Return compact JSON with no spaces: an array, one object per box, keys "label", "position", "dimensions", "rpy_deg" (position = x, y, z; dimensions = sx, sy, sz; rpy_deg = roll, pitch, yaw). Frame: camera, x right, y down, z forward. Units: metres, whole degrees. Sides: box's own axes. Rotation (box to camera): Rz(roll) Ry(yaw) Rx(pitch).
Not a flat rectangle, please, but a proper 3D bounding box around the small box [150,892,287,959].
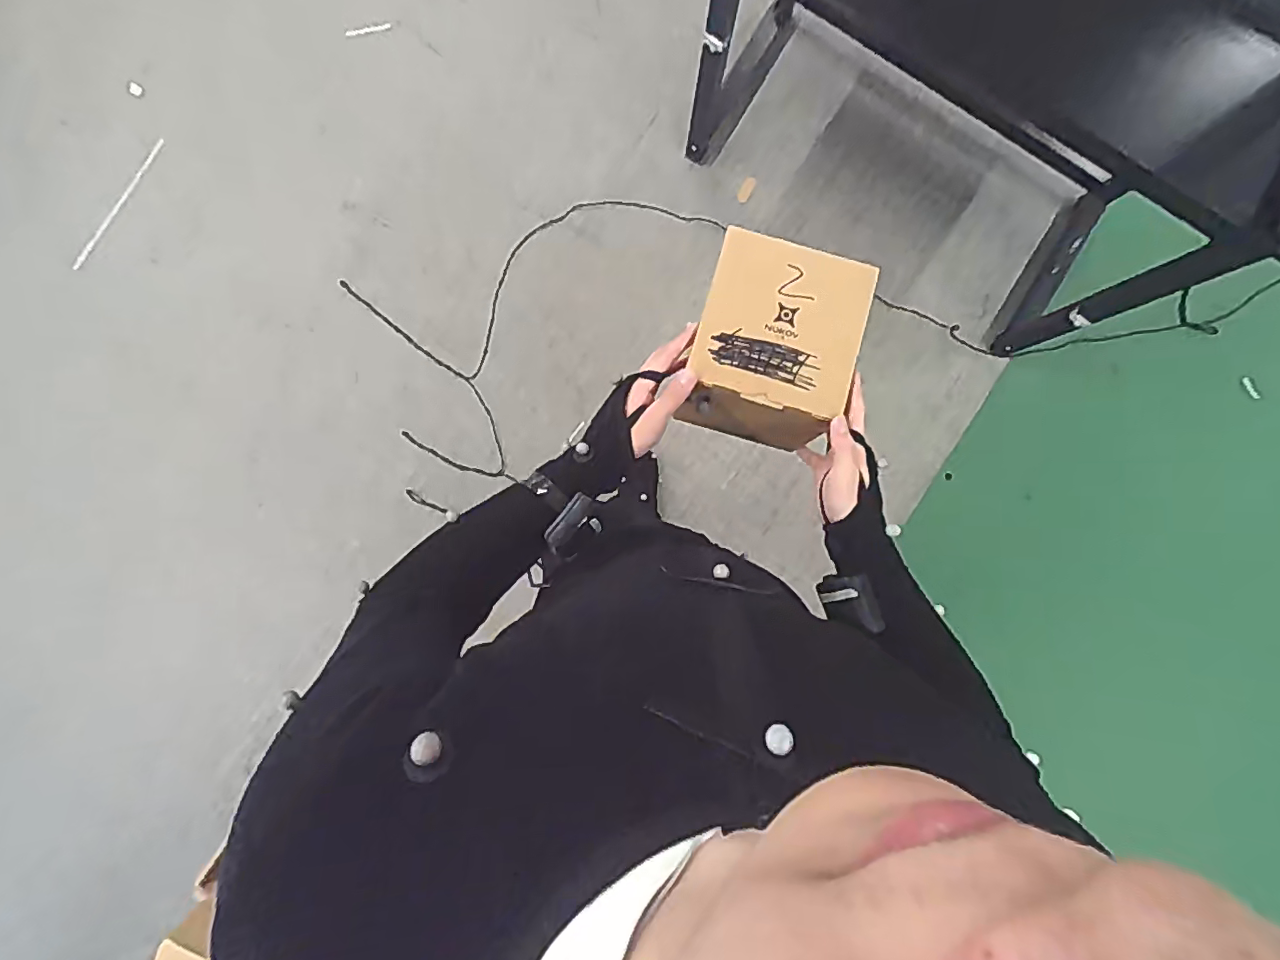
[{"label":"small box","position":[-0.887,1.005,1.112],"dimensions":[0.179,0.176,0.168],"rpy_deg":[27,87,0]}]
